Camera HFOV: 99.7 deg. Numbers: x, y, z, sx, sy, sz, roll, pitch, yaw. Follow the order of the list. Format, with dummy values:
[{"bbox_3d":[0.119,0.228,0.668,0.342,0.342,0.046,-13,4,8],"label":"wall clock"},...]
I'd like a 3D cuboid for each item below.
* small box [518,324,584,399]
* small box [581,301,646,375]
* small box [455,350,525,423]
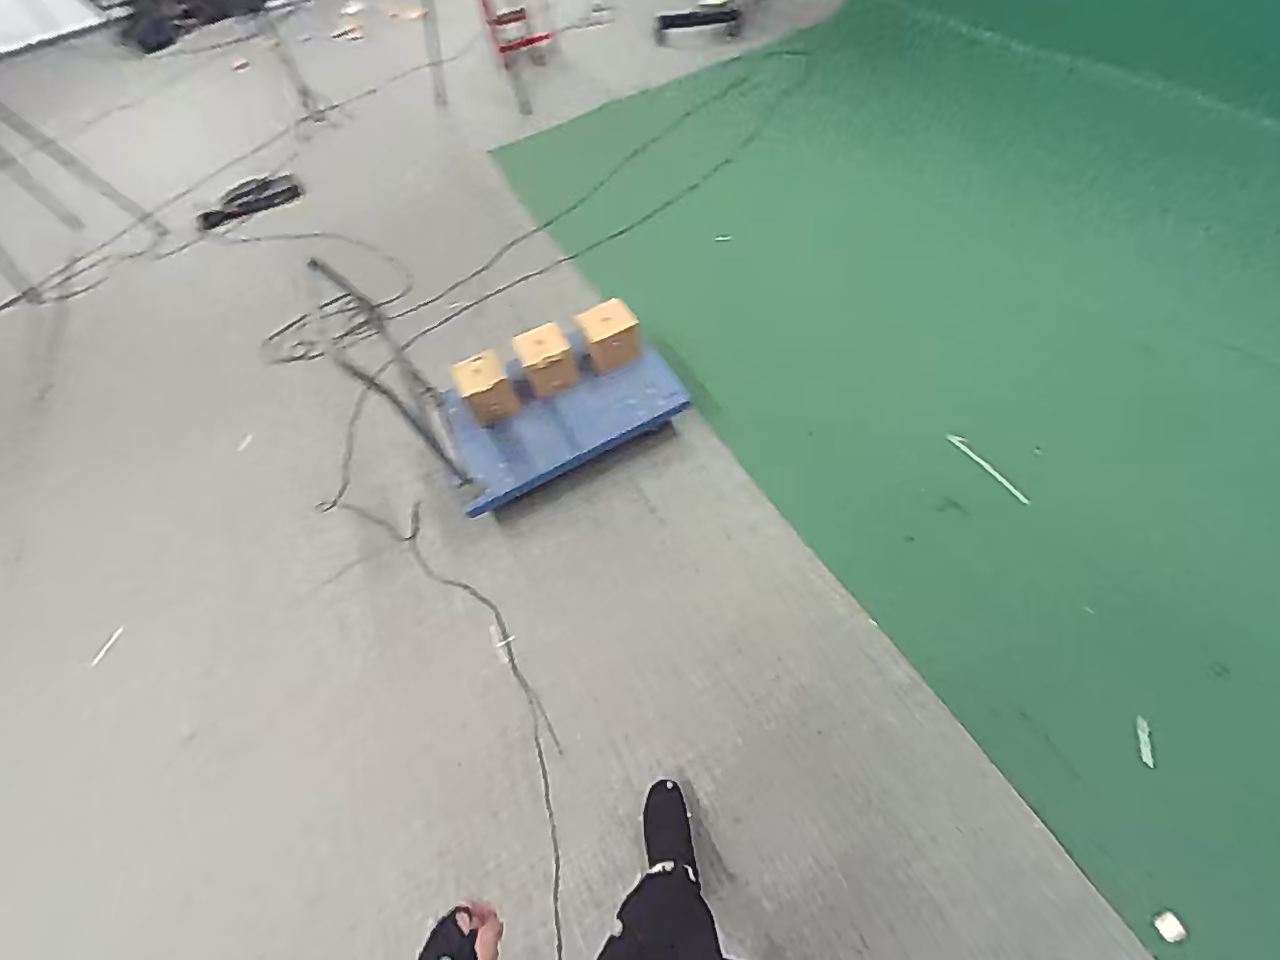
[{"bbox_3d":[-0.321,-0.429,1.965,0.168,0.176,0.179,-24,56,-7],"label":"small box"},{"bbox_3d":[-0.093,-0.516,1.987,0.179,0.176,0.168,-26,57,-8],"label":"small box"},{"bbox_3d":[-0.531,-0.325,1.929,0.168,0.176,0.179,-25,57,-9],"label":"small box"}]
